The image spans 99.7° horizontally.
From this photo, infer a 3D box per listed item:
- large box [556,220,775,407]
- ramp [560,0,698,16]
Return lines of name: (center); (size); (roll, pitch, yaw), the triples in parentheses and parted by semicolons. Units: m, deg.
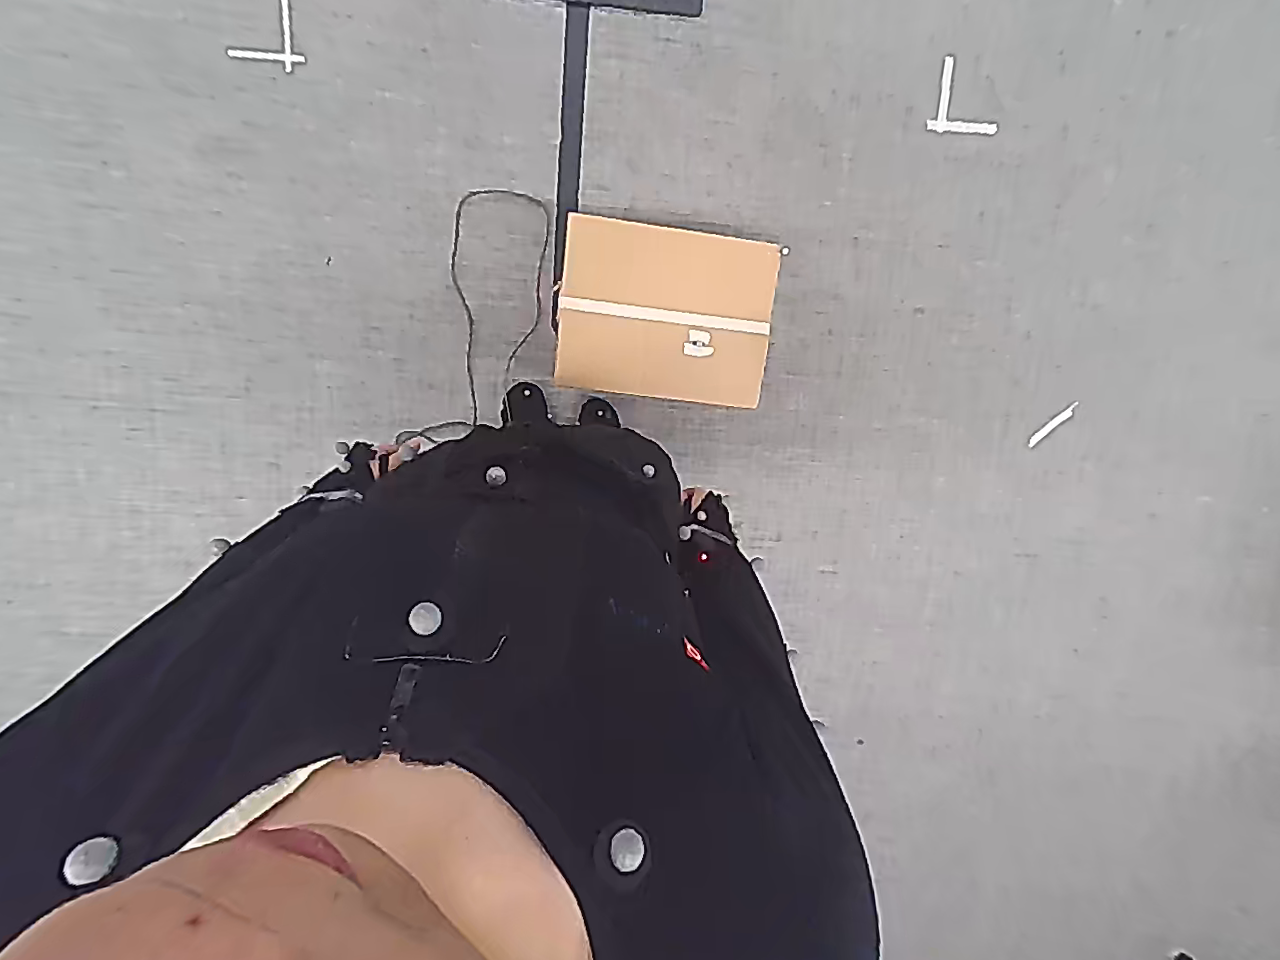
large box: (0.030, -0.340, 1.180); (0.408, 0.320, 0.320); (5, 102, -7)
ramp: (-0.077, -1.495, 0.989); (0.509, 0.206, 0.991); (1, 102, -6)
